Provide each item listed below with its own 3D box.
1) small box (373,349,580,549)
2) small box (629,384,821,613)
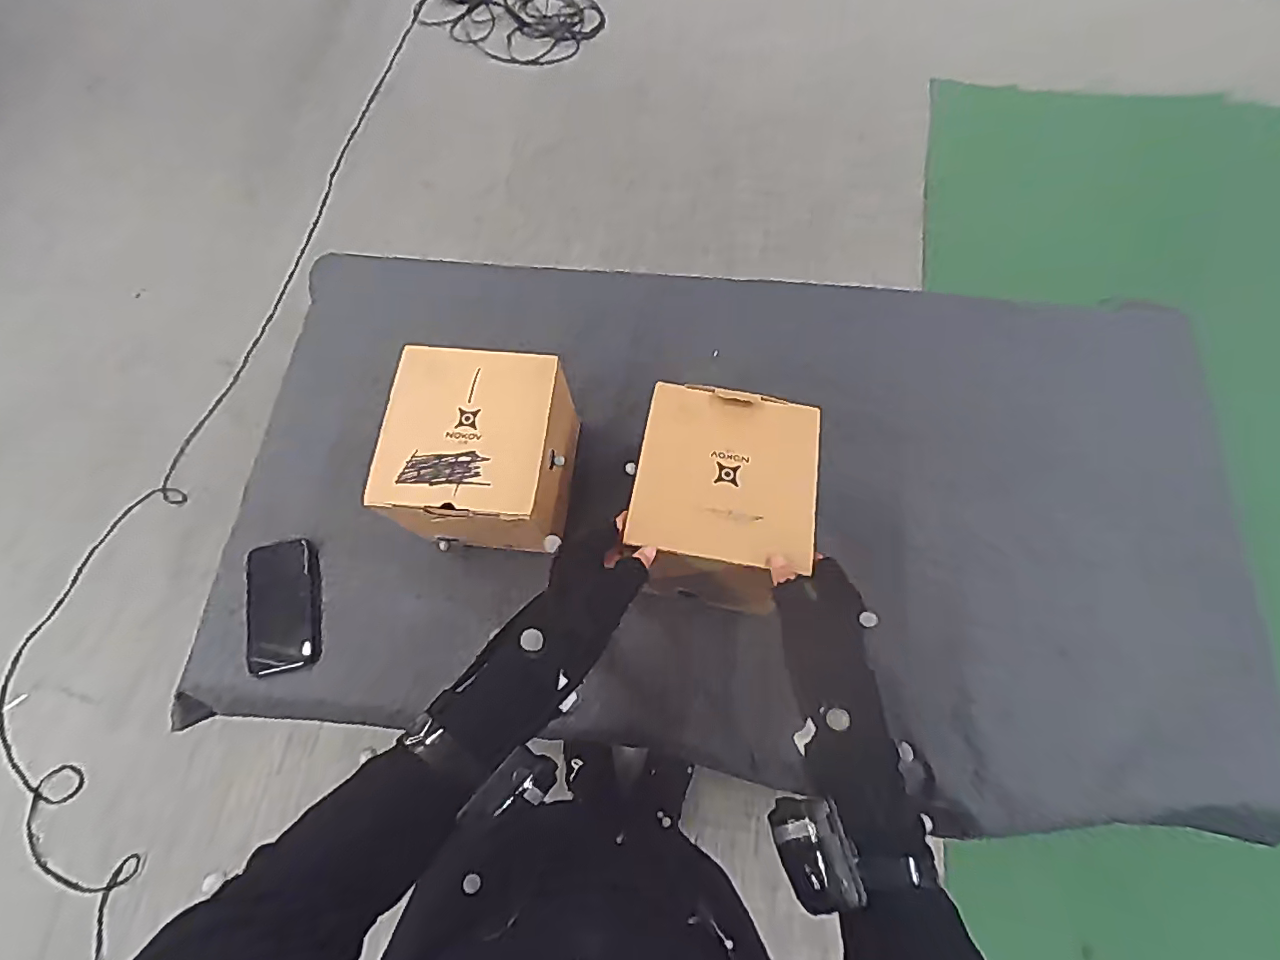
[{"bbox_3d":[-0.167,-0.025,0.616,0.168,0.176,0.179,5,71,2],"label":"small box"},{"bbox_3d":[0.082,0.028,0.578,0.168,0.176,0.179,10,65,3],"label":"small box"}]
